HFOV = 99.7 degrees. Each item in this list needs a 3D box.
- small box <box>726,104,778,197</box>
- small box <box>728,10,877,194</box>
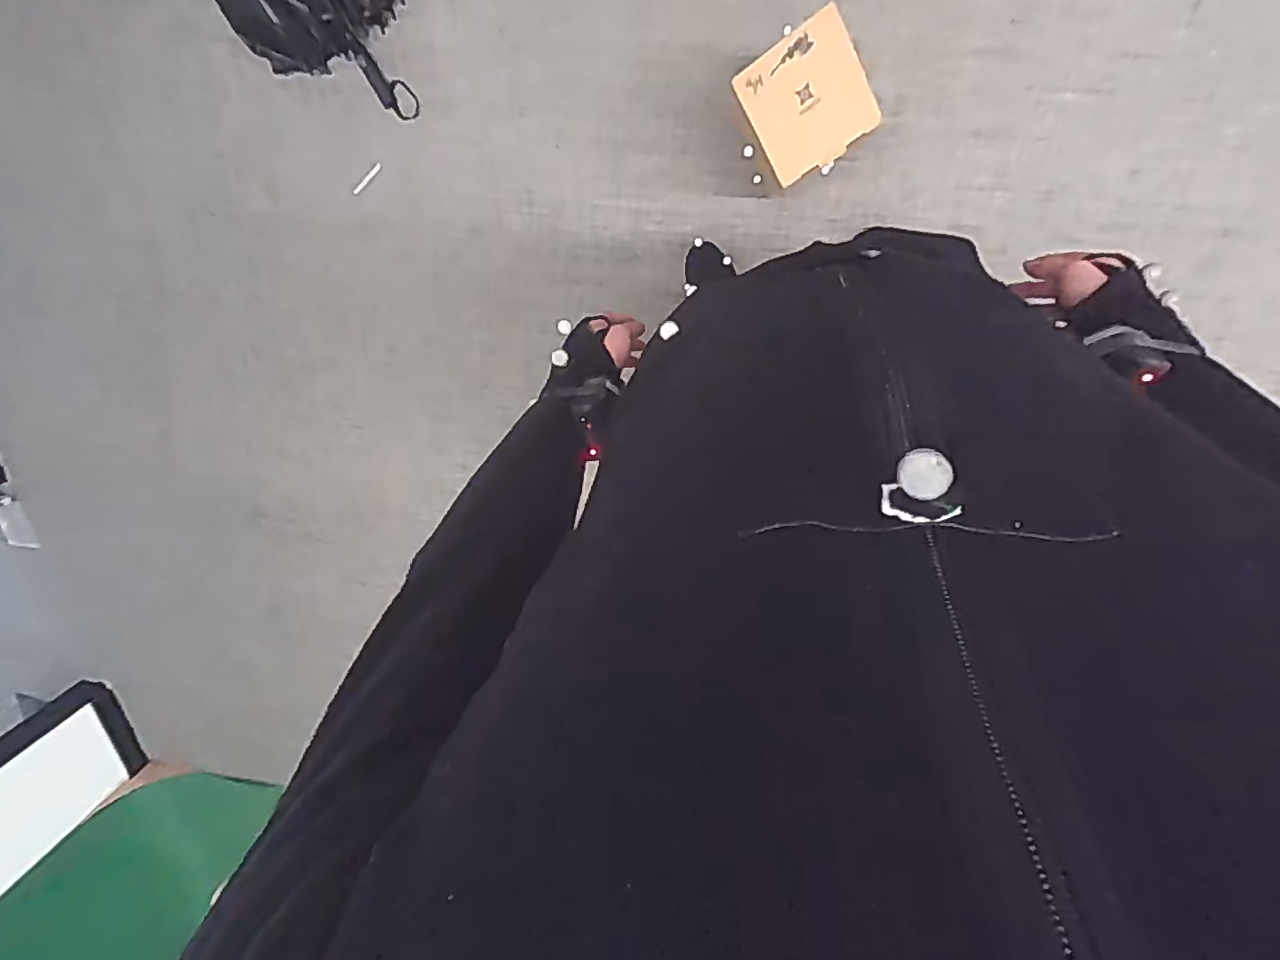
[{"bbox_3d":[0.279,-0.666,1.031,0.168,0.176,0.179,-29,105,19],"label":"small box"},{"bbox_3d":[0.257,-0.597,0.883,0.168,0.176,0.179,-28,109,19],"label":"small box"}]
